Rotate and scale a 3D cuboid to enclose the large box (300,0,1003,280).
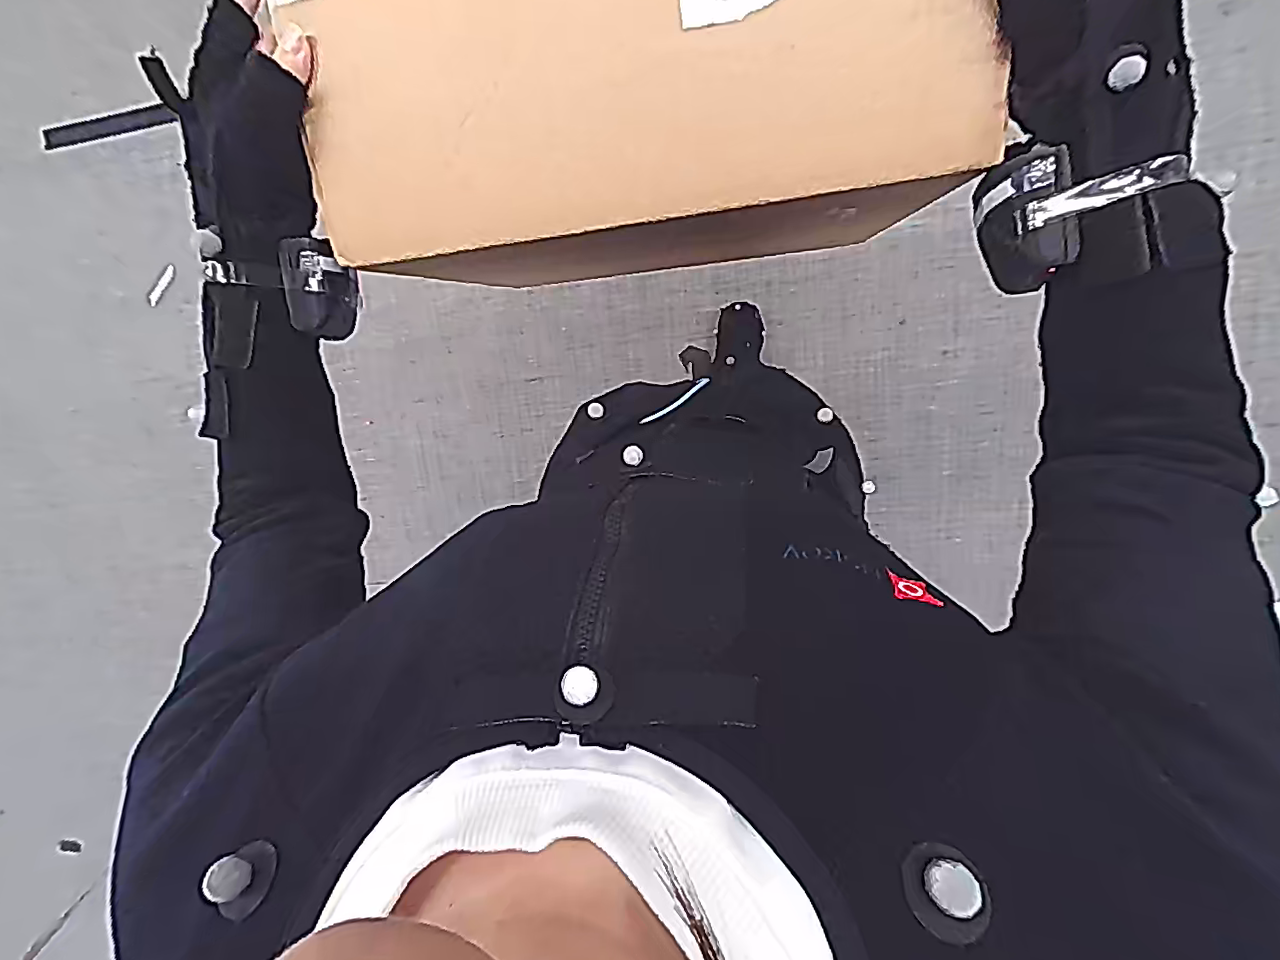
[{"bbox_3d":[0.006,-0.360,0.436,0.408,0.320,0.320,-5,107,10],"label":"large box"}]
